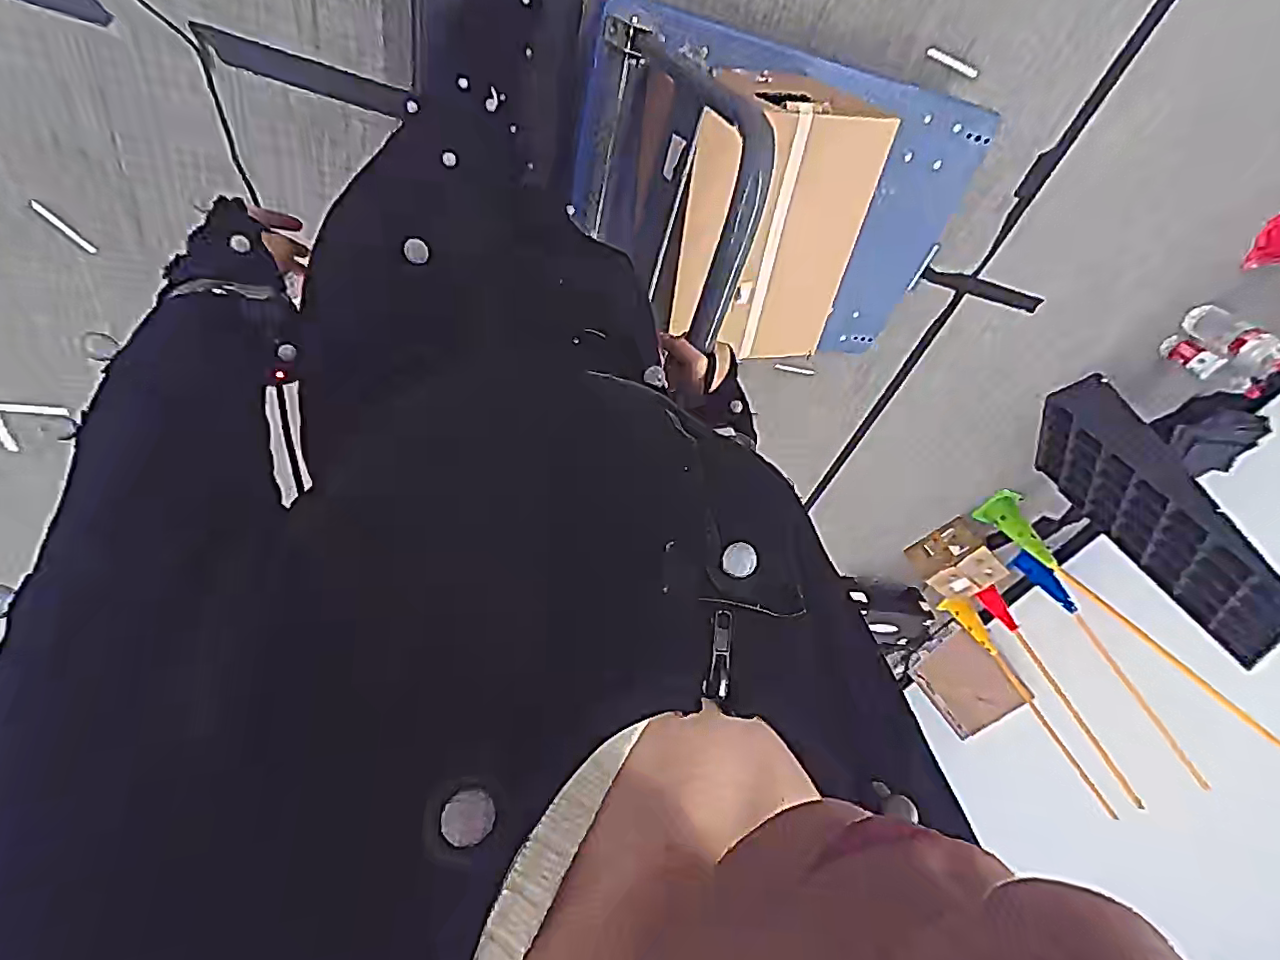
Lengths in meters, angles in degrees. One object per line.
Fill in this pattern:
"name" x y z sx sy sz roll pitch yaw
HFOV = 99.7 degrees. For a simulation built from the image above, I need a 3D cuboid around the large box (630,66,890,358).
"large box" 0.174 -0.487 0.999 0.320 0.320 0.408 -5 136 -13
